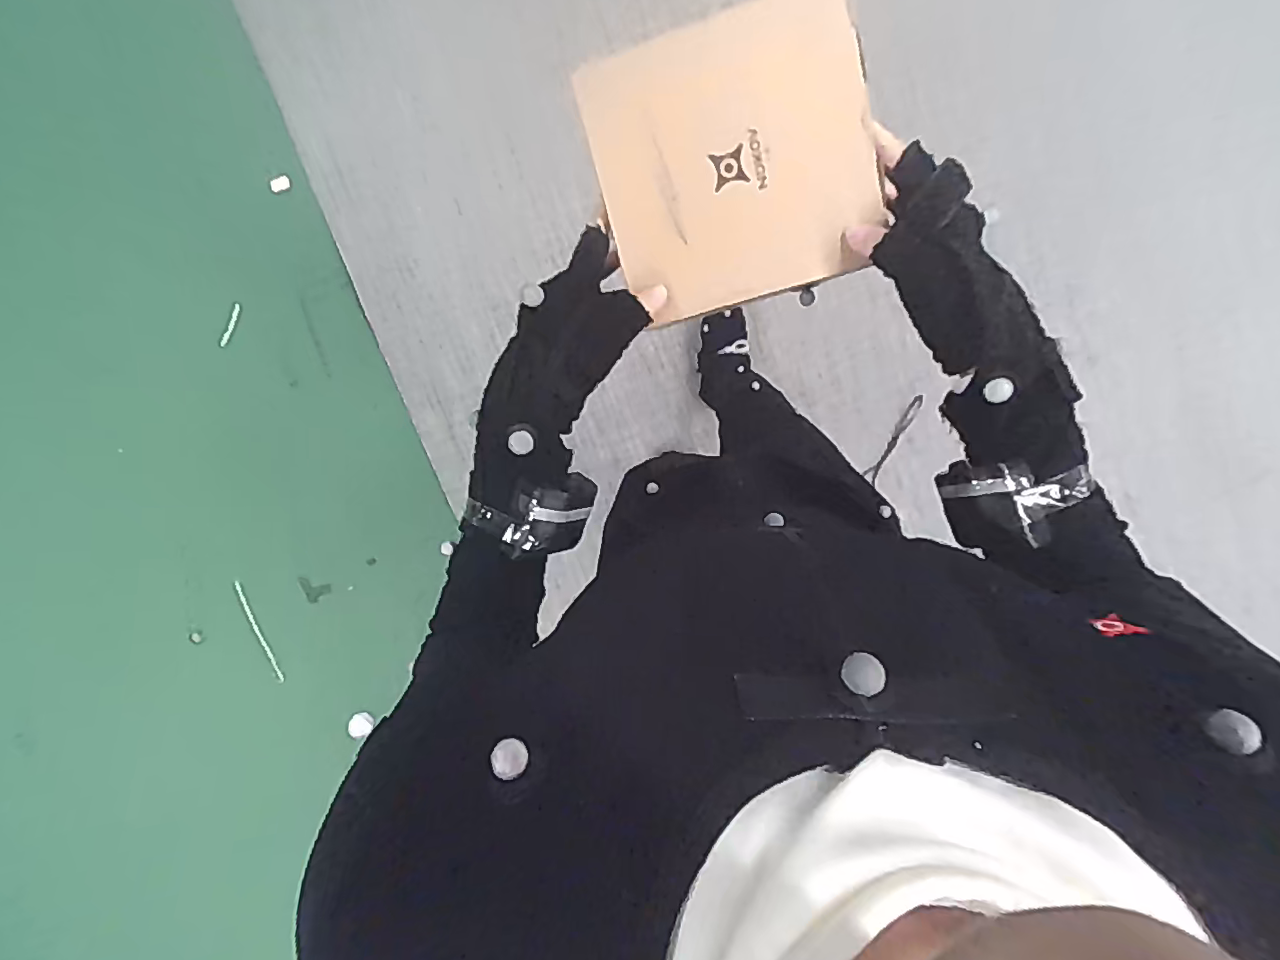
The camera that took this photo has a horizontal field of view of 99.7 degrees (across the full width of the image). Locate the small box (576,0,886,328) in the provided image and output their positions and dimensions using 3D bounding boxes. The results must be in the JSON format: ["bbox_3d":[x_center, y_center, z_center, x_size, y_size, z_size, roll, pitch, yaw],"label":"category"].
[{"bbox_3d":[0.068,-0.227,0.432,0.179,0.176,0.168,-14,103,10],"label":"small box"}]
